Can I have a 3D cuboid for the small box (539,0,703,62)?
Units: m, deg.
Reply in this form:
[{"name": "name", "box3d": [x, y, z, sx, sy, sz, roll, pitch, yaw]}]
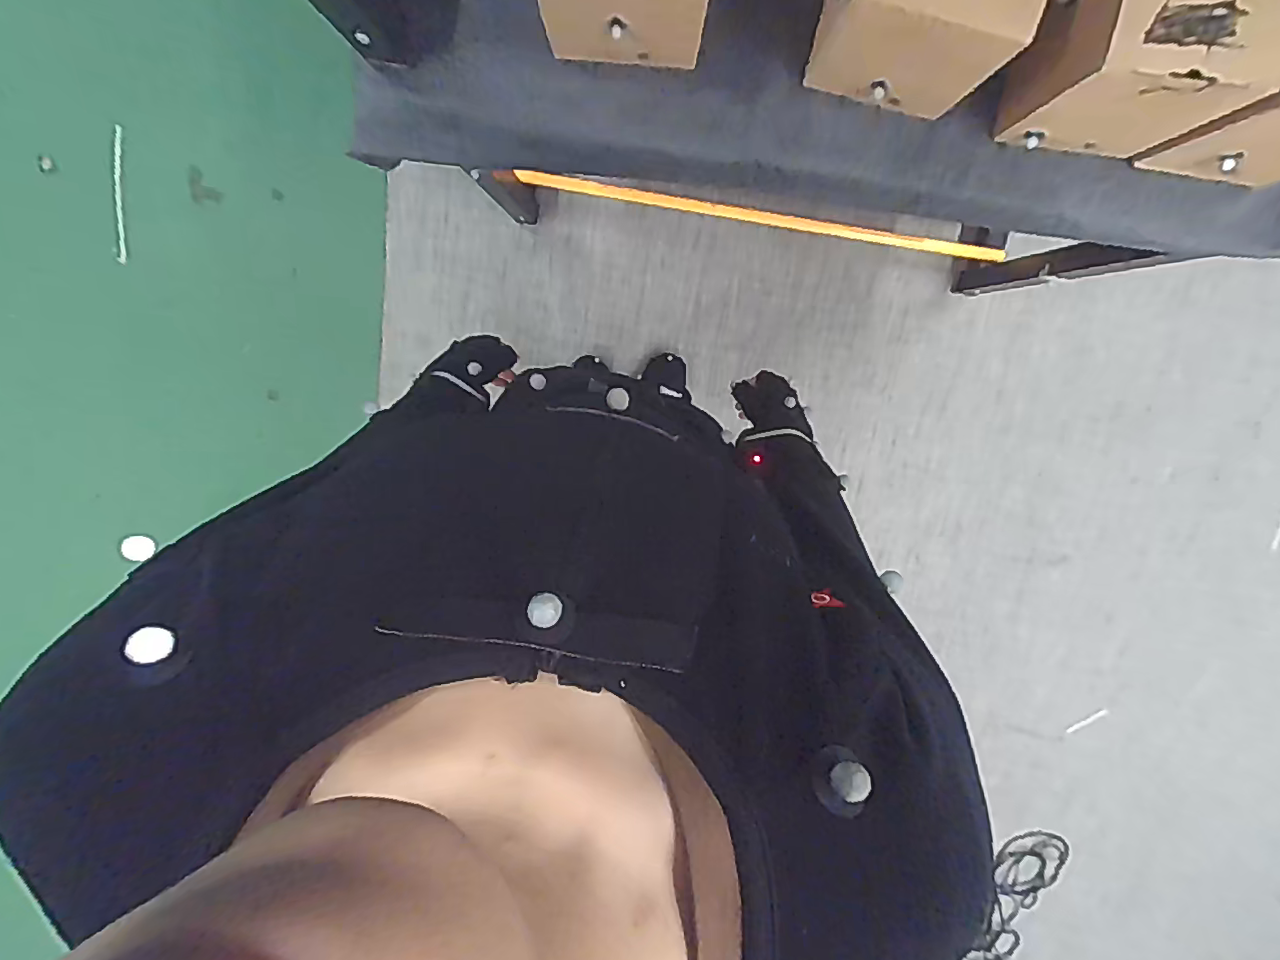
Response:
[{"name": "small box", "box3d": [-0.013, -0.546, 0.523, 0.168, 0.176, 0.179, 4, 102, -1]}]
